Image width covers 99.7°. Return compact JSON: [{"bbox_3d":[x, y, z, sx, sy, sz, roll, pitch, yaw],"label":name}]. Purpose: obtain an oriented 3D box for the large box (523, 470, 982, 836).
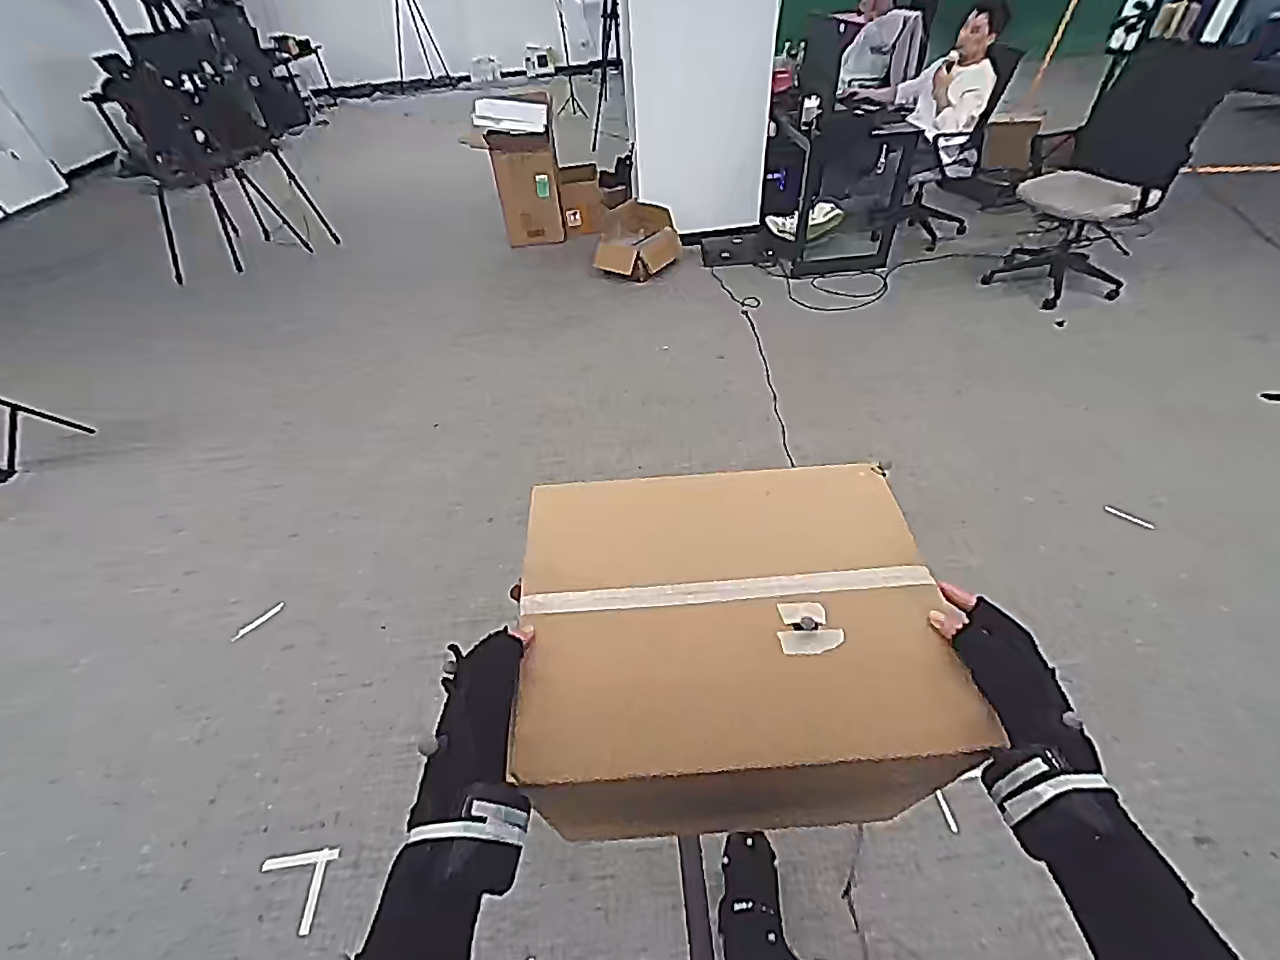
[{"bbox_3d":[0.090,0.216,0.664,0.408,0.320,0.320,-4,50,-1],"label":"large box"}]
